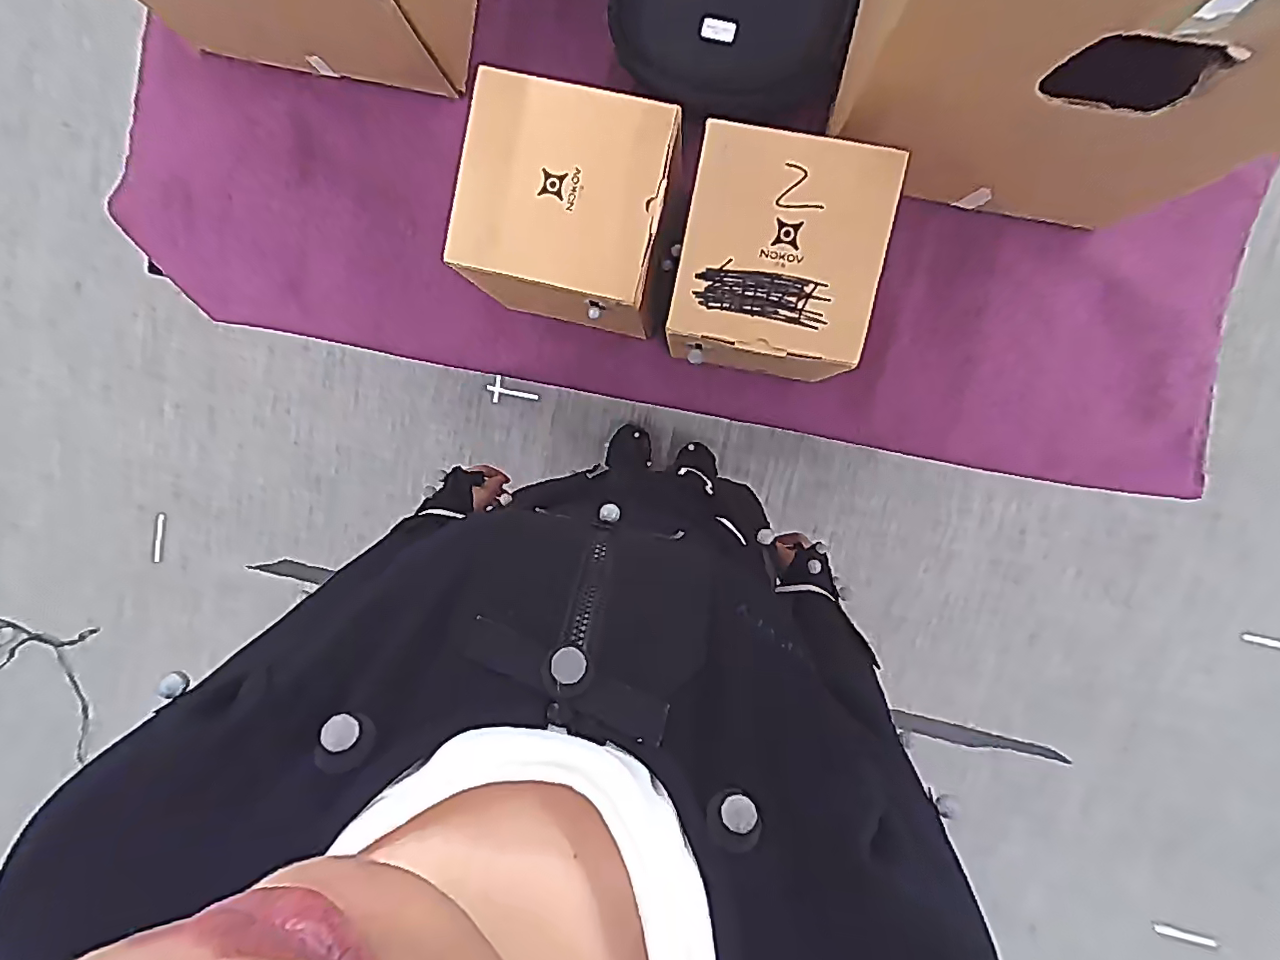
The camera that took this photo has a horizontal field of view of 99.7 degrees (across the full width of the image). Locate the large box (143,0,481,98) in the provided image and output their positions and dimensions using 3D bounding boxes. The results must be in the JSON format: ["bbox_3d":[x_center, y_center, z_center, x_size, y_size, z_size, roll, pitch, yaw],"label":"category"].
[{"bbox_3d":[-0.316,-0.632,0.445,0.320,0.320,0.408,10,99,2],"label":"large box"}]
